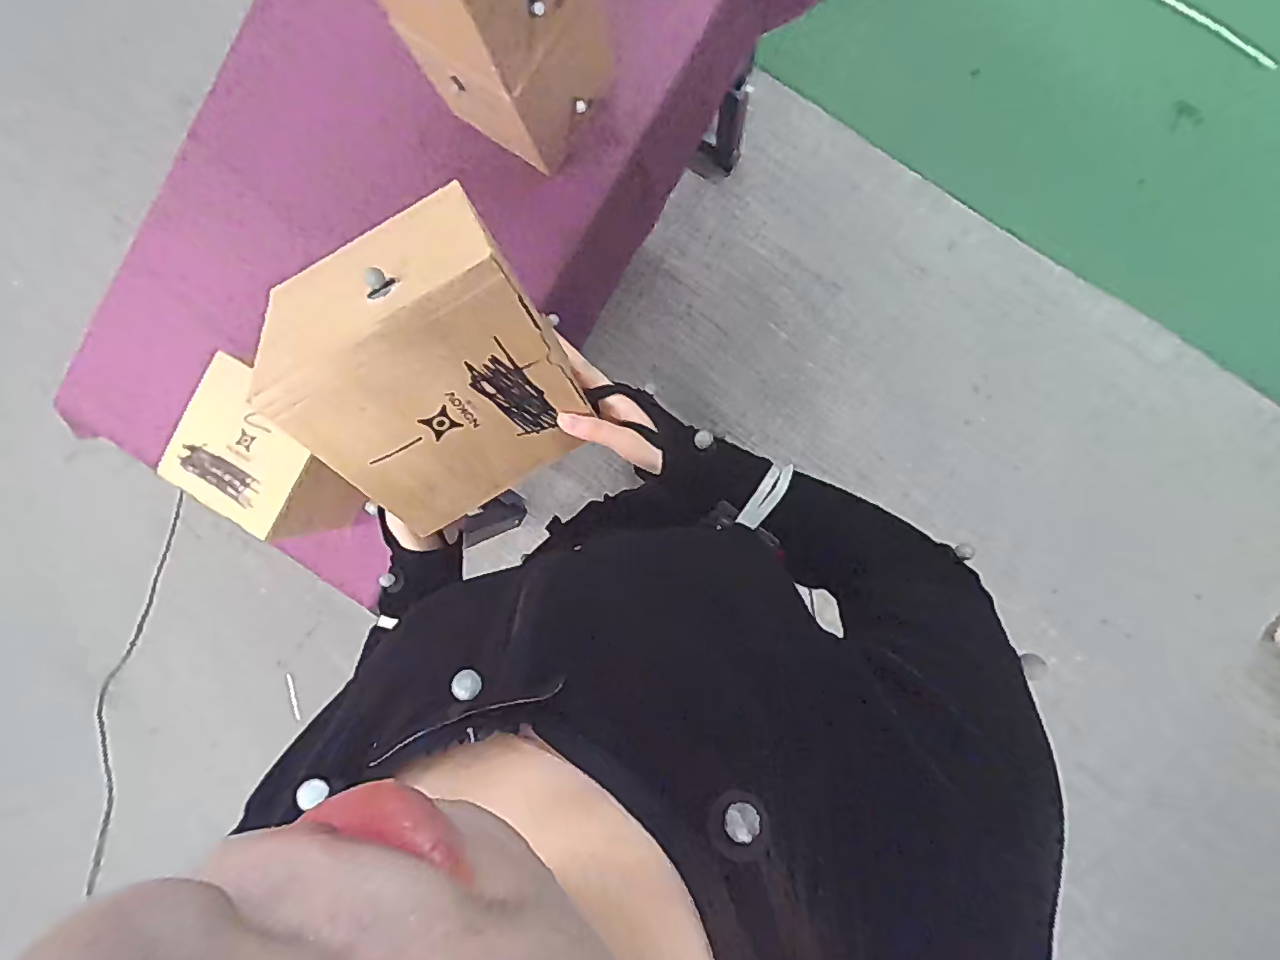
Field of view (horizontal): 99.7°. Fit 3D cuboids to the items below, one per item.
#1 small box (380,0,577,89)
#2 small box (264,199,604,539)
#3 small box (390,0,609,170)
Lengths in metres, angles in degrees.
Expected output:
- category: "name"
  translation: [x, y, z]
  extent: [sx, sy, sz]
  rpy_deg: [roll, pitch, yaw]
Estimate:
- category: "small box"
  translation: [-0.174, -0.529, 0.514]
  extent: [0.179, 0.176, 0.168]
  rpy_deg: [35, 95, 2]
- category: "small box"
  translation: [-0.157, -0.091, 0.435]
  extent: [0.179, 0.168, 0.176]
  rpy_deg: [-29, 48, 1]
- category: "small box"
  translation: [-0.160, -0.534, 0.676]
  extent: [0.179, 0.176, 0.168]
  rpy_deg: [35, 96, 3]
